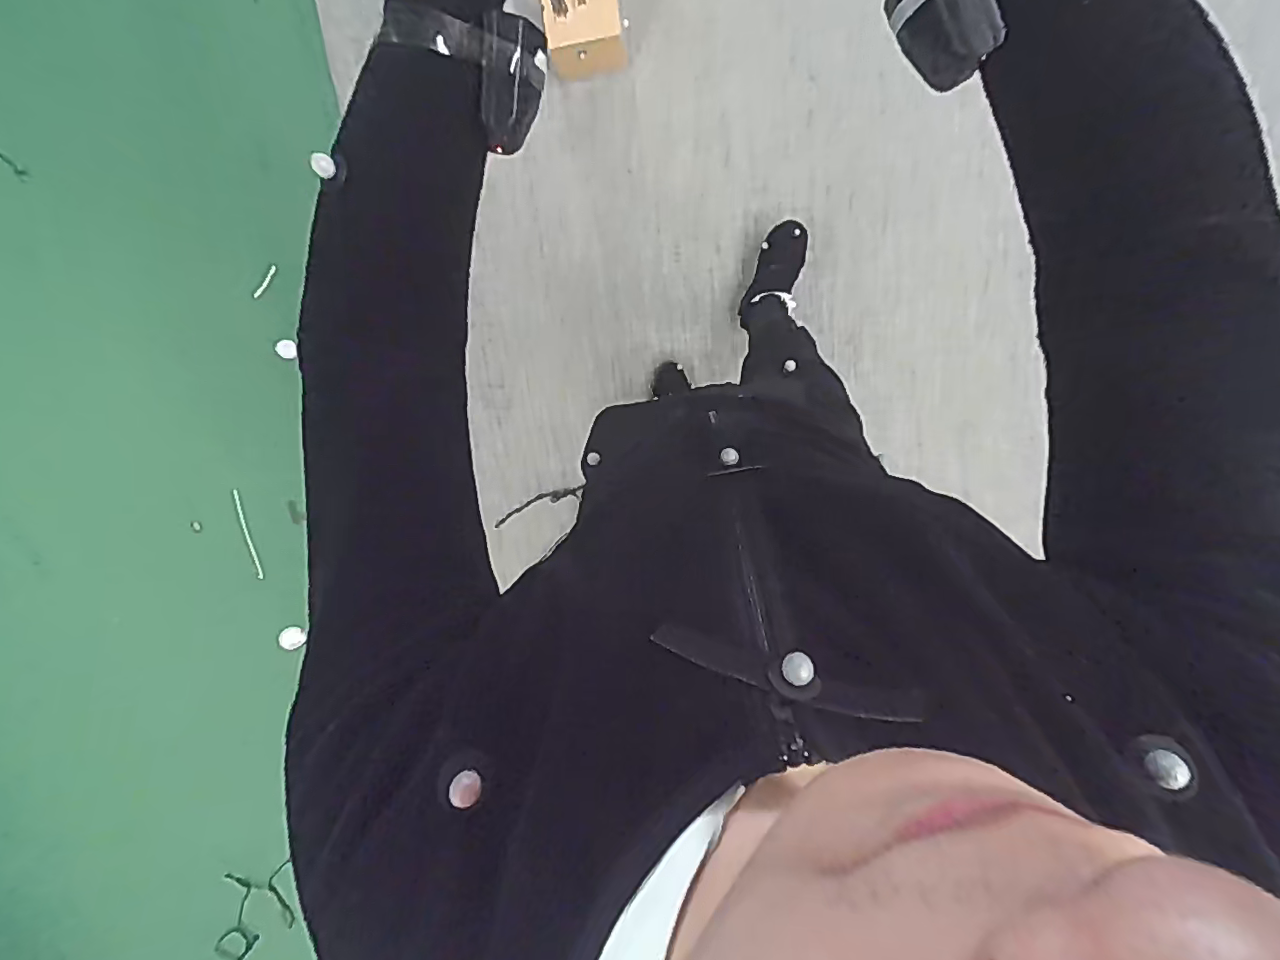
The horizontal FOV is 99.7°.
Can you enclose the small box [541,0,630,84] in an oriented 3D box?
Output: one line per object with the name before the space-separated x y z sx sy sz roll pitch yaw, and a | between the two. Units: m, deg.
small box | -0.127 -1.088 1.295 0.179 0.176 0.168 -7 104 6
